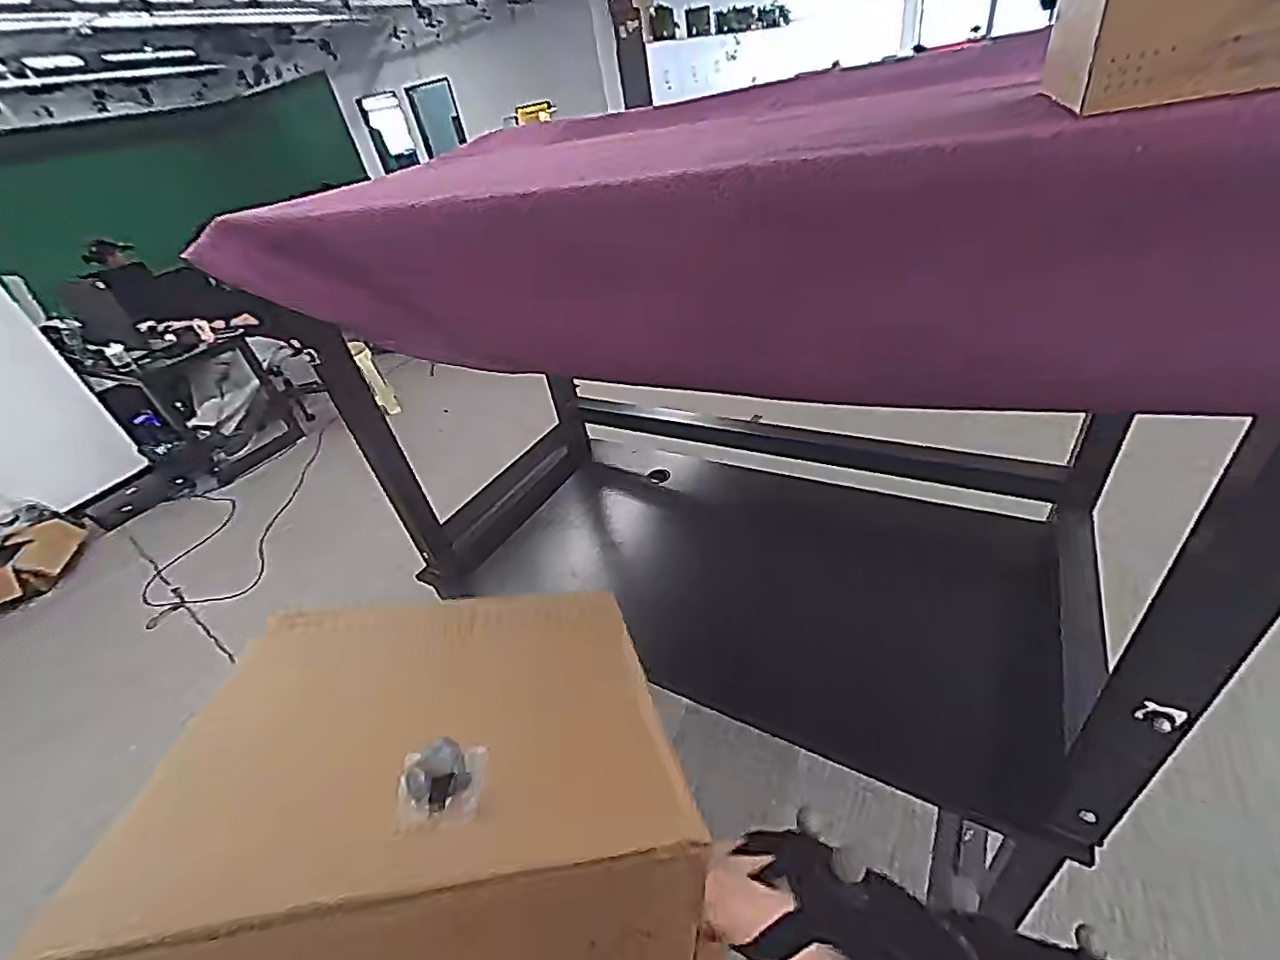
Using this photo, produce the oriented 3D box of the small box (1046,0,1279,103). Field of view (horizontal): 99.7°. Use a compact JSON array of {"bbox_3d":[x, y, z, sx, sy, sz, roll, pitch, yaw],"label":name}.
[{"bbox_3d":[0.349,-0.322,0.296,0.168,0.176,0.179,6,38,25],"label":"small box"}]
